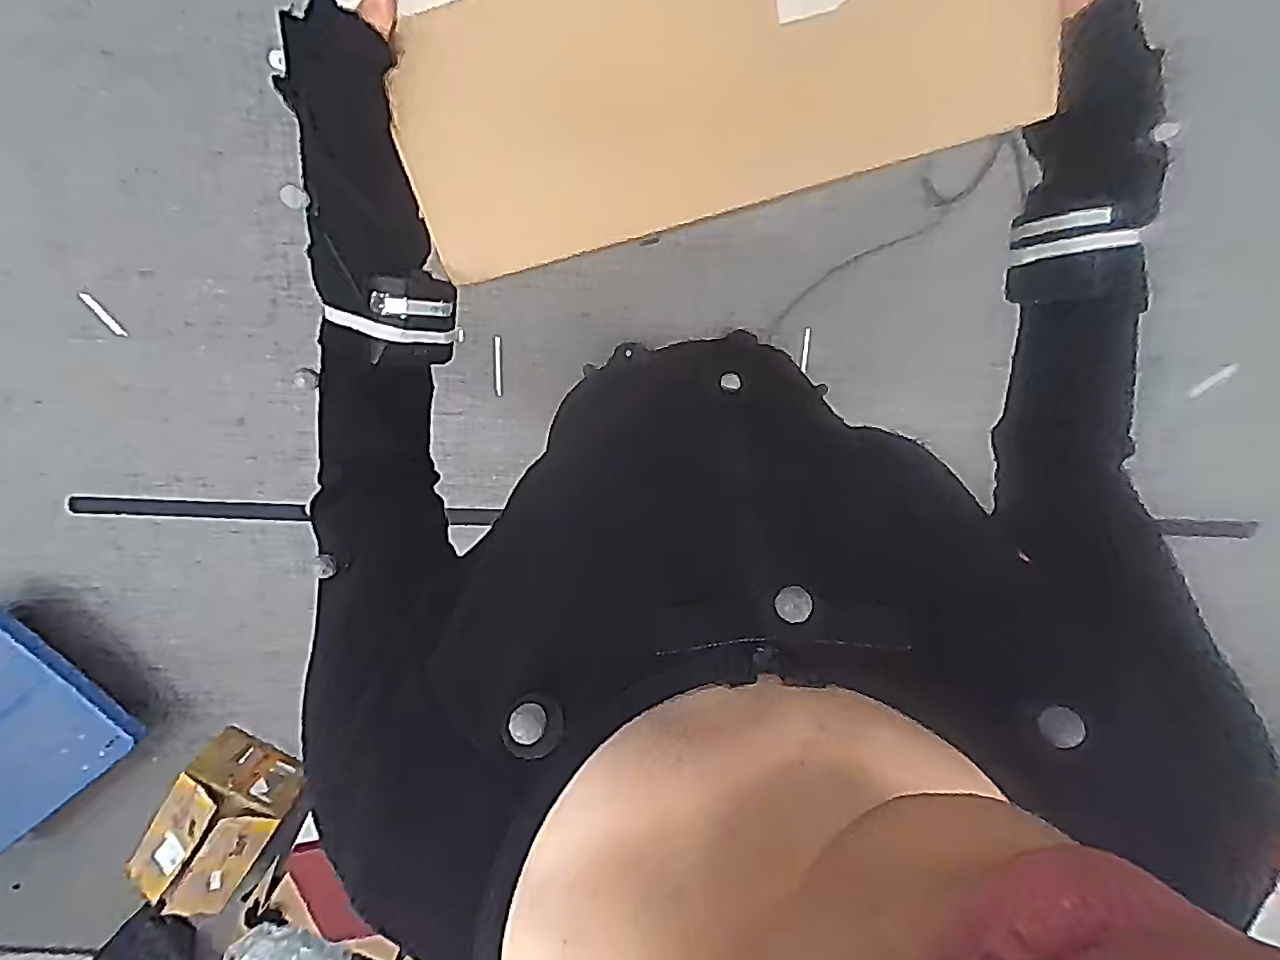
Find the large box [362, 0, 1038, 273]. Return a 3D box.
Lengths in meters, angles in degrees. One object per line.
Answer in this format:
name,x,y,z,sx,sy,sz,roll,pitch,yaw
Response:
large box,0.021,-0.385,0.448,0.408,0.320,0.320,-14,112,4
